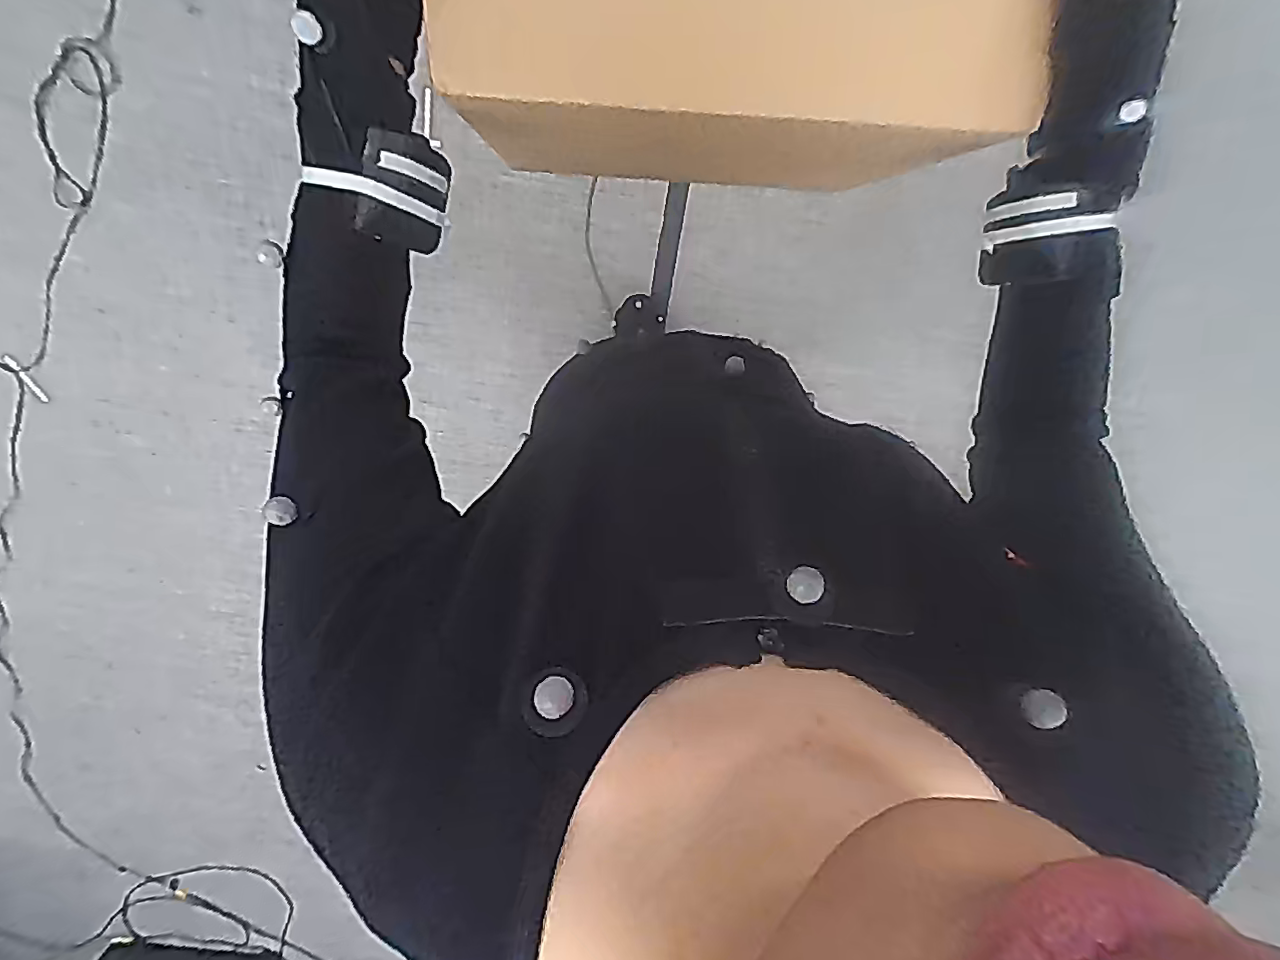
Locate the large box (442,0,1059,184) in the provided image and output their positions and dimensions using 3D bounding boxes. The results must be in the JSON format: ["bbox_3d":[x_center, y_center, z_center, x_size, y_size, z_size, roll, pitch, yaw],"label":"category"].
[{"bbox_3d":[0.065,-0.444,0.445,0.408,0.320,0.320,0,112,-5],"label":"large box"}]
